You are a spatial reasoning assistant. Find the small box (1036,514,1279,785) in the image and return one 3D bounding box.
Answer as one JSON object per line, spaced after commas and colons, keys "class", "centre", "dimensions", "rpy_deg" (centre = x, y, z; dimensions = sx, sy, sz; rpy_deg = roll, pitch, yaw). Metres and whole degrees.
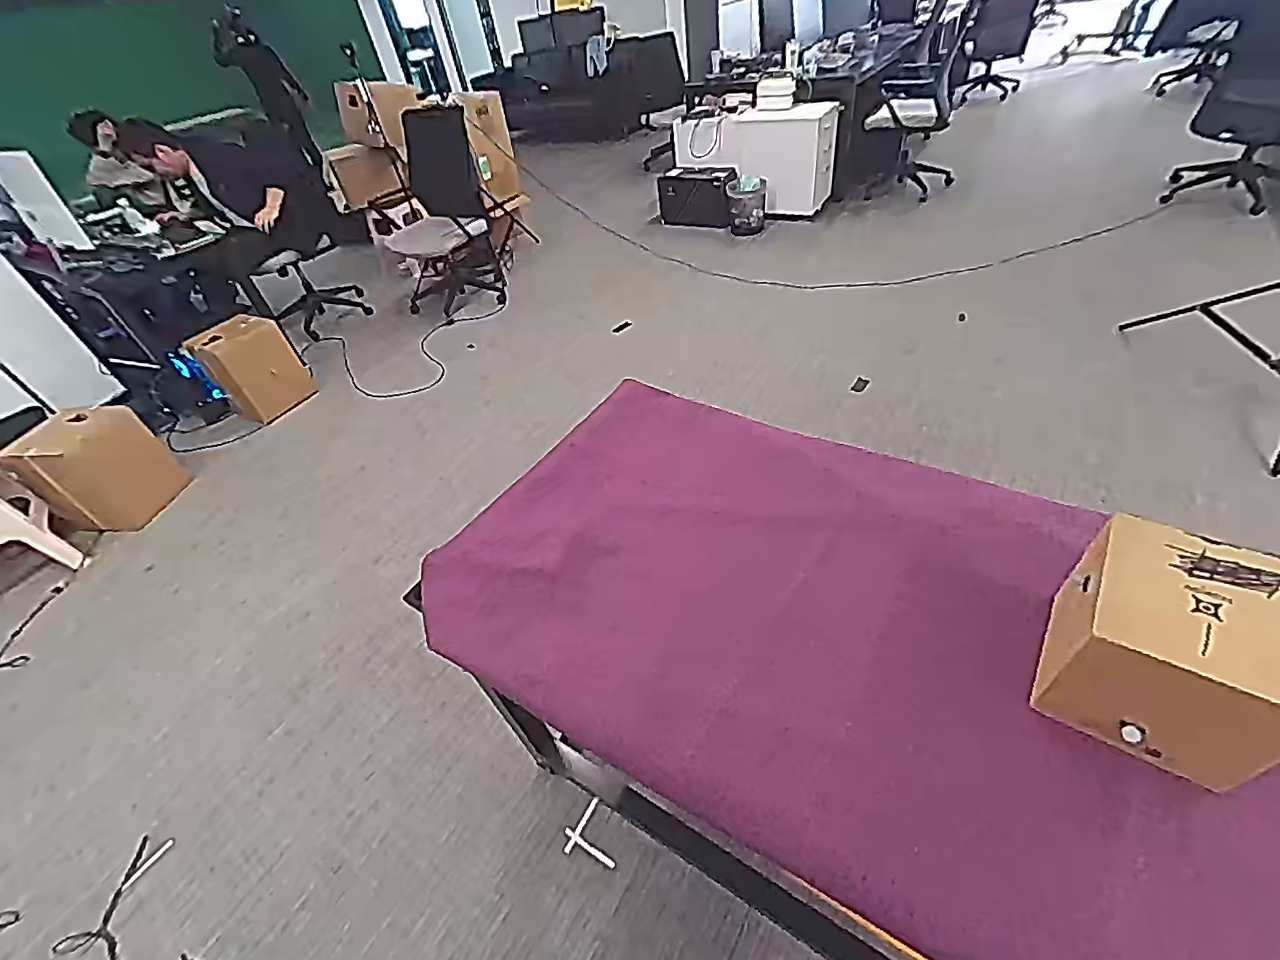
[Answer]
{"class": "small box", "centre": [0.550, 0.173, 0.568], "dimensions": [0.168, 0.176, 0.179], "rpy_deg": [22, 53, 30]}
